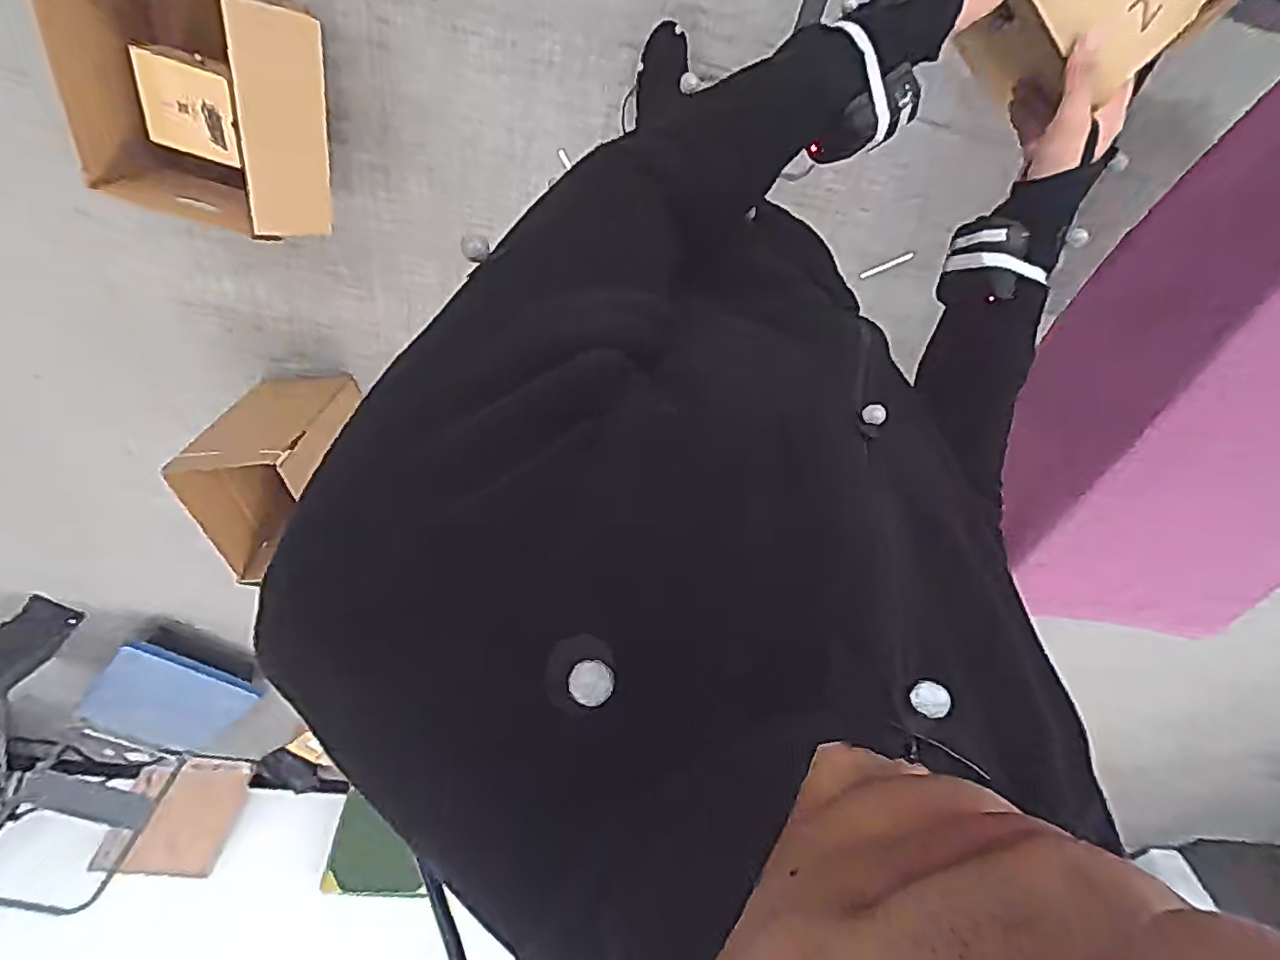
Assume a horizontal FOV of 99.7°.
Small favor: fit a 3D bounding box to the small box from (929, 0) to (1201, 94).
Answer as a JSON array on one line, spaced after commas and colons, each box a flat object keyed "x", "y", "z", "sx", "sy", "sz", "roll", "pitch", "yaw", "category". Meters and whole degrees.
[{"x": 0.348, "y": -0.445, "z": 0.427, "sx": 0.179, "sy": 0.176, "sz": 0.168, "roll": 35, "pitch": 121, "yaw": -22, "category": "small box"}]
